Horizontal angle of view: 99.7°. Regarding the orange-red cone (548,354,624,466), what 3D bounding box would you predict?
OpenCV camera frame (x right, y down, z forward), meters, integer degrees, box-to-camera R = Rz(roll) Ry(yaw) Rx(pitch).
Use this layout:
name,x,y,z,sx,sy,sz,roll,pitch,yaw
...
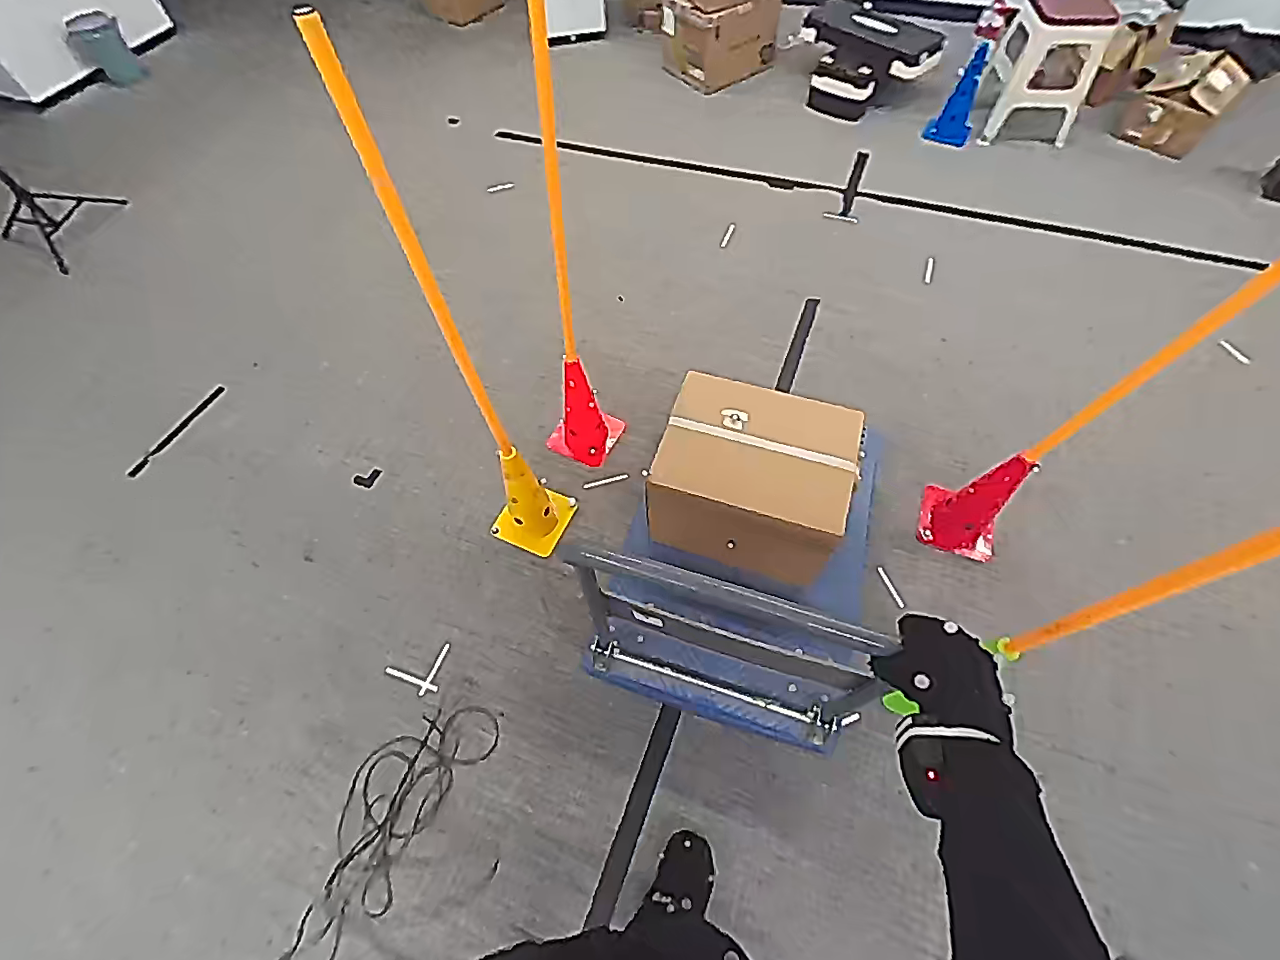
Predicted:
name,x,y,z,sx,sy,sz,roll,pitch,yaw
orange-red cone,-0.177,-0.237,1.611,0.198,0.360,0.199,25,62,15

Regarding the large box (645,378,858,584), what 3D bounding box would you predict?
name,x,y,z,sx,sy,sz,roll,pitch,yaw
large box,0.254,0.010,1.282,0.408,0.320,0.320,16,62,12

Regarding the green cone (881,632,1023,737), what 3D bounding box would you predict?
name,x,y,z,sx,sy,sz,roll,pitch,yaw
green cone,0.711,0.415,1.190,0.202,0.368,0.200,22,62,13

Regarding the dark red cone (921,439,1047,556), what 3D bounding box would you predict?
name,x,y,z,sx,sy,sz,roll,pitch,yaw
dark red cone,0.907,0.021,1.397,0.201,0.394,0.202,19,62,10
